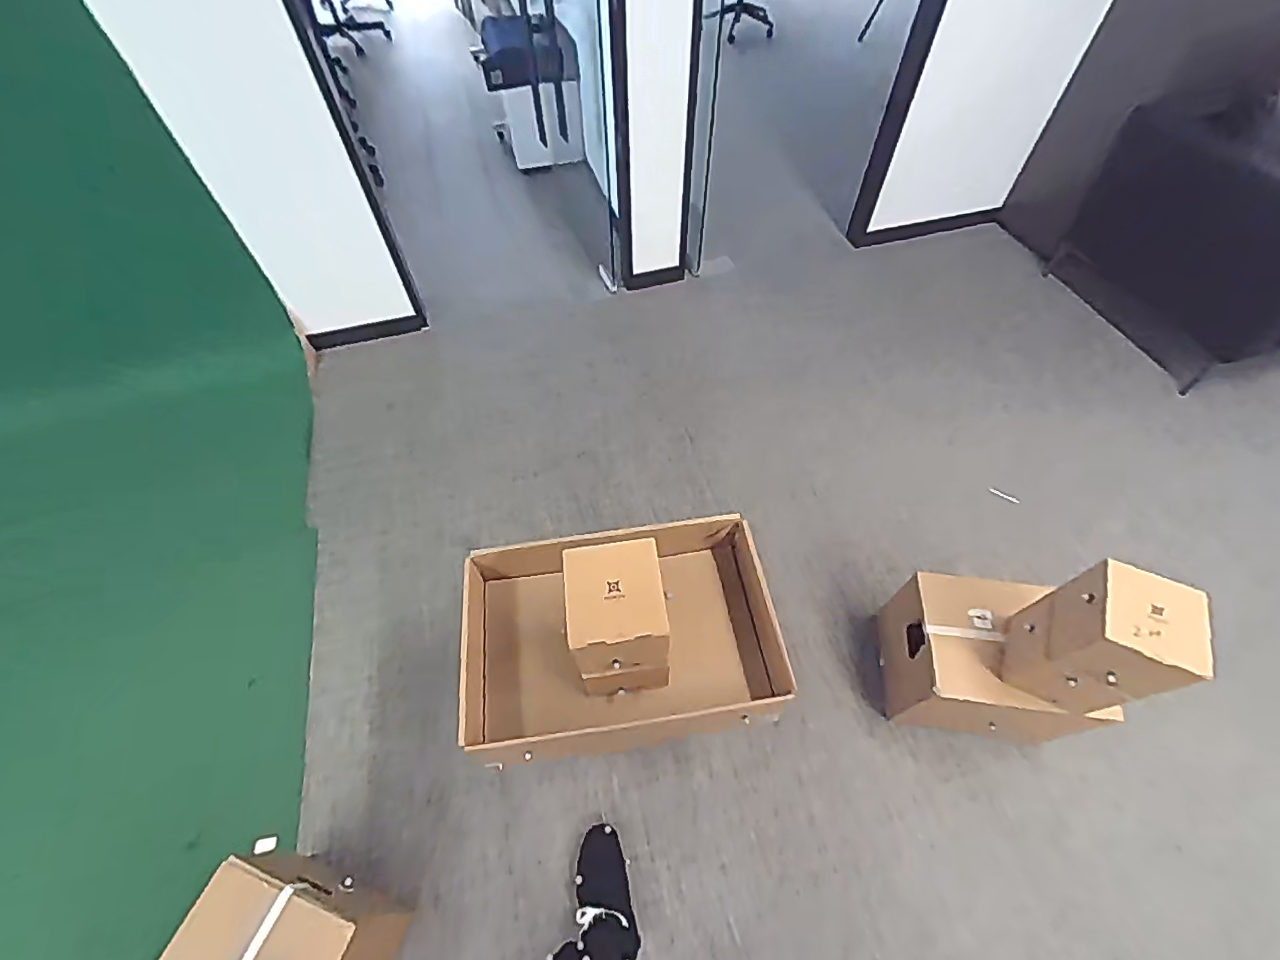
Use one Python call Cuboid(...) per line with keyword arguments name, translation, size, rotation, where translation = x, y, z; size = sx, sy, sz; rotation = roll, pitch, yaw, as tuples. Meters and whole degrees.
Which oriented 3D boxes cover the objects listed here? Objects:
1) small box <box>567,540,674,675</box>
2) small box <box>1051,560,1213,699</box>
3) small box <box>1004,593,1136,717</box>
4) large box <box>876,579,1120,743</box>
Cuboid(name="small box", translation=(-0.036, 0.230, 0.963), size=(0.168, 0.176, 0.179), rotation=(-7, 56, -3))
Cuboid(name="small box", translation=(0.930, 0.290, 1.038), size=(0.168, 0.176, 0.179), rotation=(22, 60, 16))
Cuboid(name="small box", translation=(0.928, 0.383, 1.176), size=(0.168, 0.176, 0.179), rotation=(23, 59, 16))
Cuboid(name="large box", translation=(0.884, 0.478, 1.409), size=(0.408, 0.320, 0.320), rotation=(6, 55, 5))
